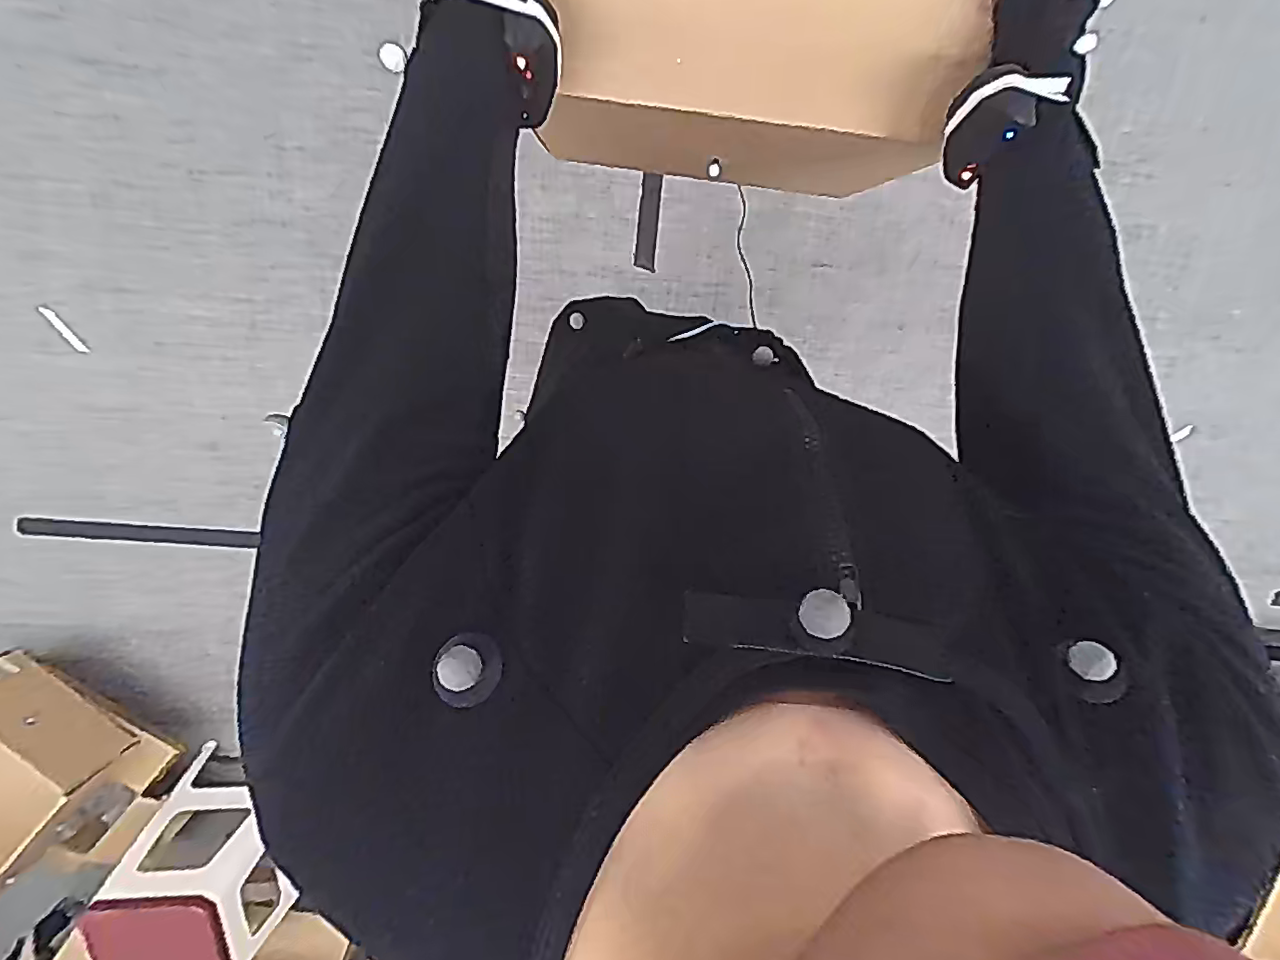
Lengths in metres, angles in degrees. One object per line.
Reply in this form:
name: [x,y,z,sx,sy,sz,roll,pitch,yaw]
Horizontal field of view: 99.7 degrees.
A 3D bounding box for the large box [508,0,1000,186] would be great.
large box: [0.102,-0.508,0.549,0.408,0.320,0.320,6,110,-3]
